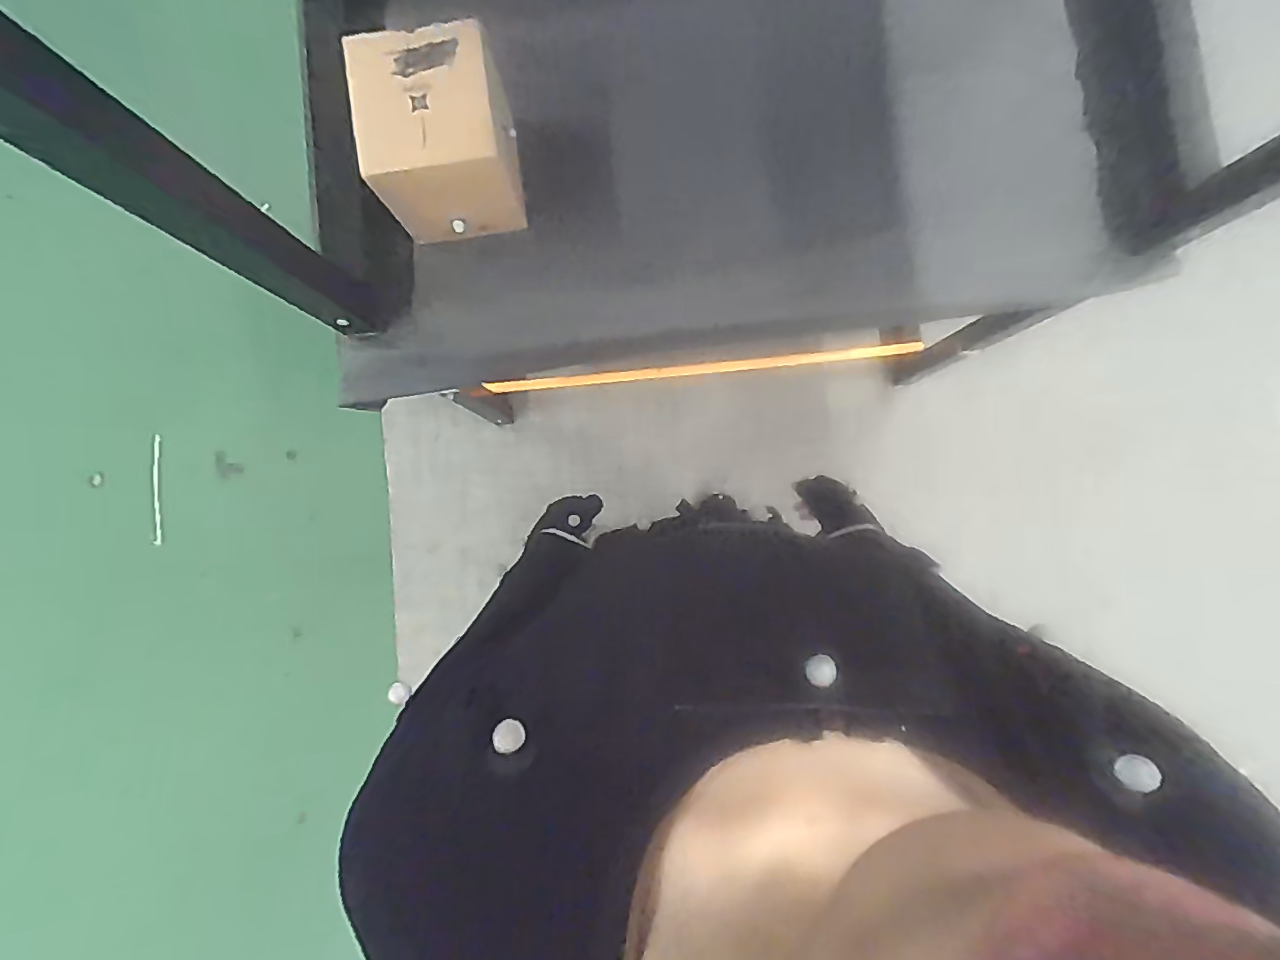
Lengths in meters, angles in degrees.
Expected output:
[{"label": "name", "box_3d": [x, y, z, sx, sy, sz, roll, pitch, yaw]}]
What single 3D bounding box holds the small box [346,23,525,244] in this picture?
[{"label": "small box", "box_3d": [-0.259, -0.445, 0.719, 0.168, 0.176, 0.179, -8, 87, 1]}]
